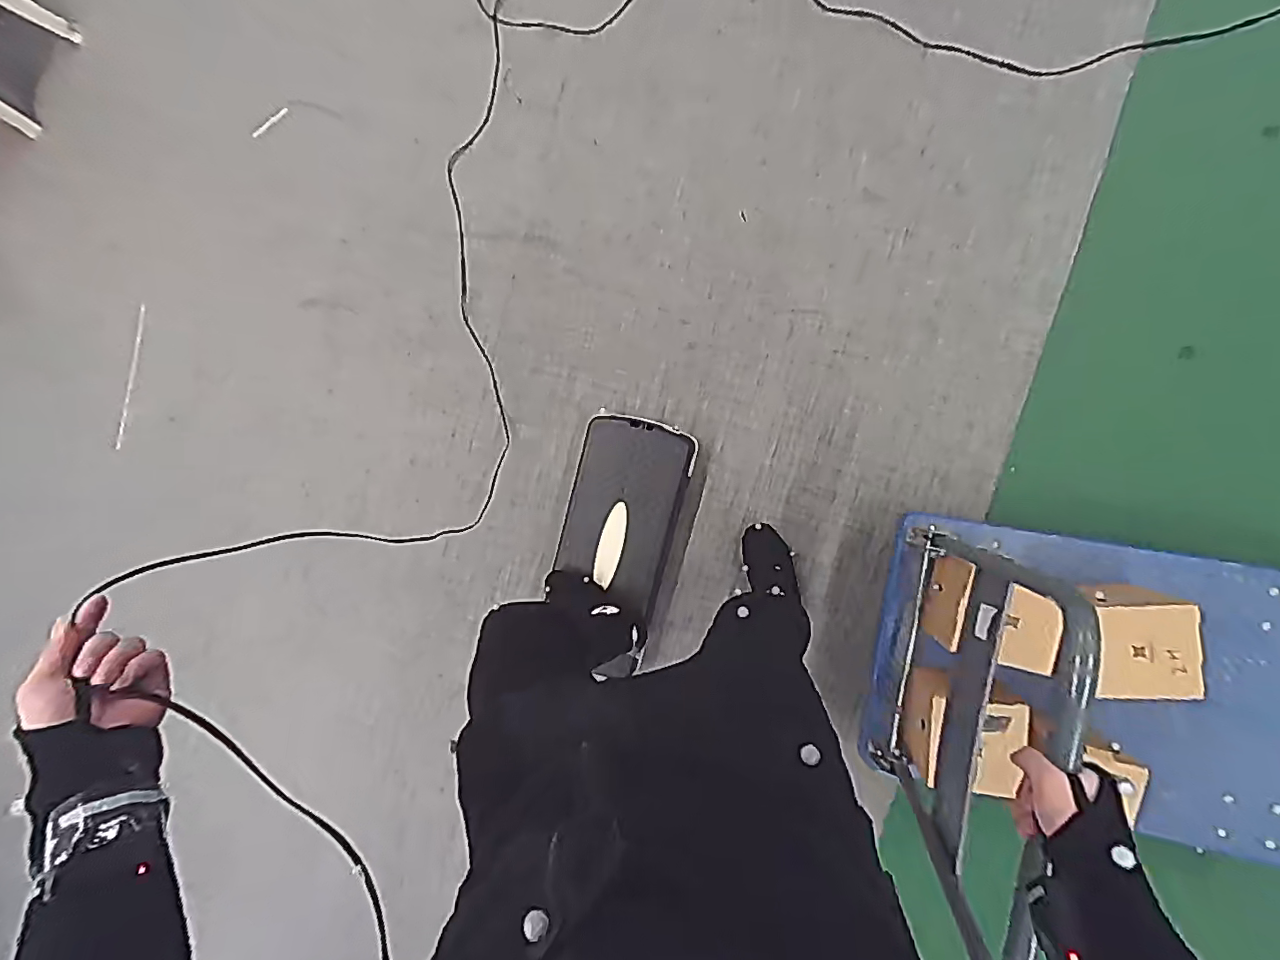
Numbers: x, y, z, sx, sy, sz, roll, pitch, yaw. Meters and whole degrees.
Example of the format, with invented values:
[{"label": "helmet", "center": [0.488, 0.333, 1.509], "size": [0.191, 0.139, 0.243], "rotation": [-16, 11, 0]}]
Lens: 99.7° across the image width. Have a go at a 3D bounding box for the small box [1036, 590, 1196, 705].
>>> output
[{"label": "small box", "center": [0.882, 0.308, 1.023], "size": [0.179, 0.176, 0.168], "rotation": [-3, 91, 10]}]
